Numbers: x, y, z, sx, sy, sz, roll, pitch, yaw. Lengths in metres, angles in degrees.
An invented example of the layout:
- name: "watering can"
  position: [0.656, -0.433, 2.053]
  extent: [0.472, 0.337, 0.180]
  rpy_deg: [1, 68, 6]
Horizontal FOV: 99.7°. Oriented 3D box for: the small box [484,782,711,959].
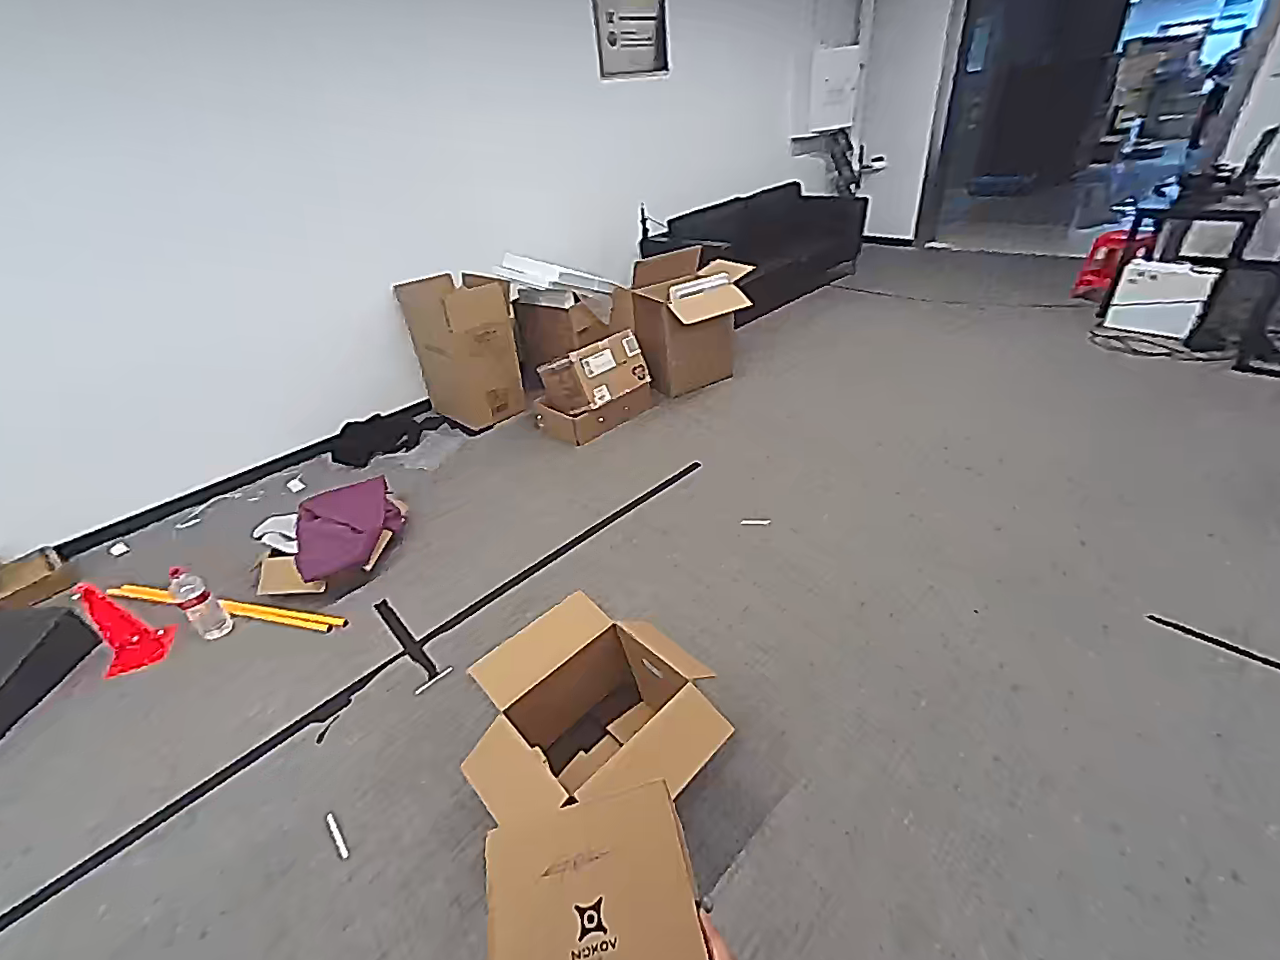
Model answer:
- name: "small box"
  position: [-0.029, 0.408, 0.482]
  extent: [0.168, 0.176, 0.179]
  rpy_deg: [-15, 44, -4]
